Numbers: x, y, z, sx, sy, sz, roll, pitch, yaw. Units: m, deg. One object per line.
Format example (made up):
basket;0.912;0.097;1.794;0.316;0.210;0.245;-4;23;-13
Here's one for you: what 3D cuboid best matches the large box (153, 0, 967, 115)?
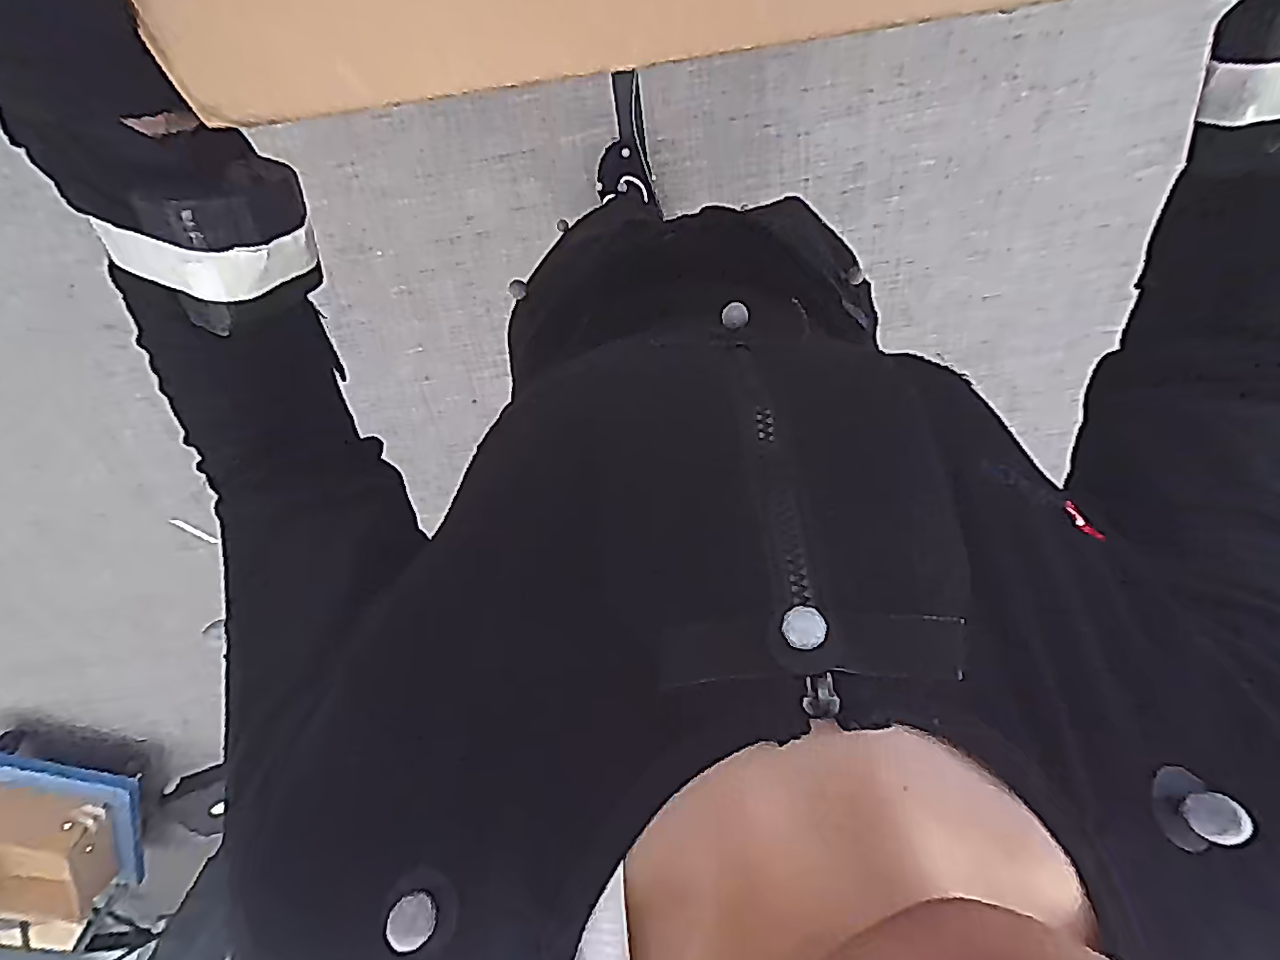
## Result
large box;0.005;-0.379;0.174;0.408;0.320;0.320;-7;142;2
